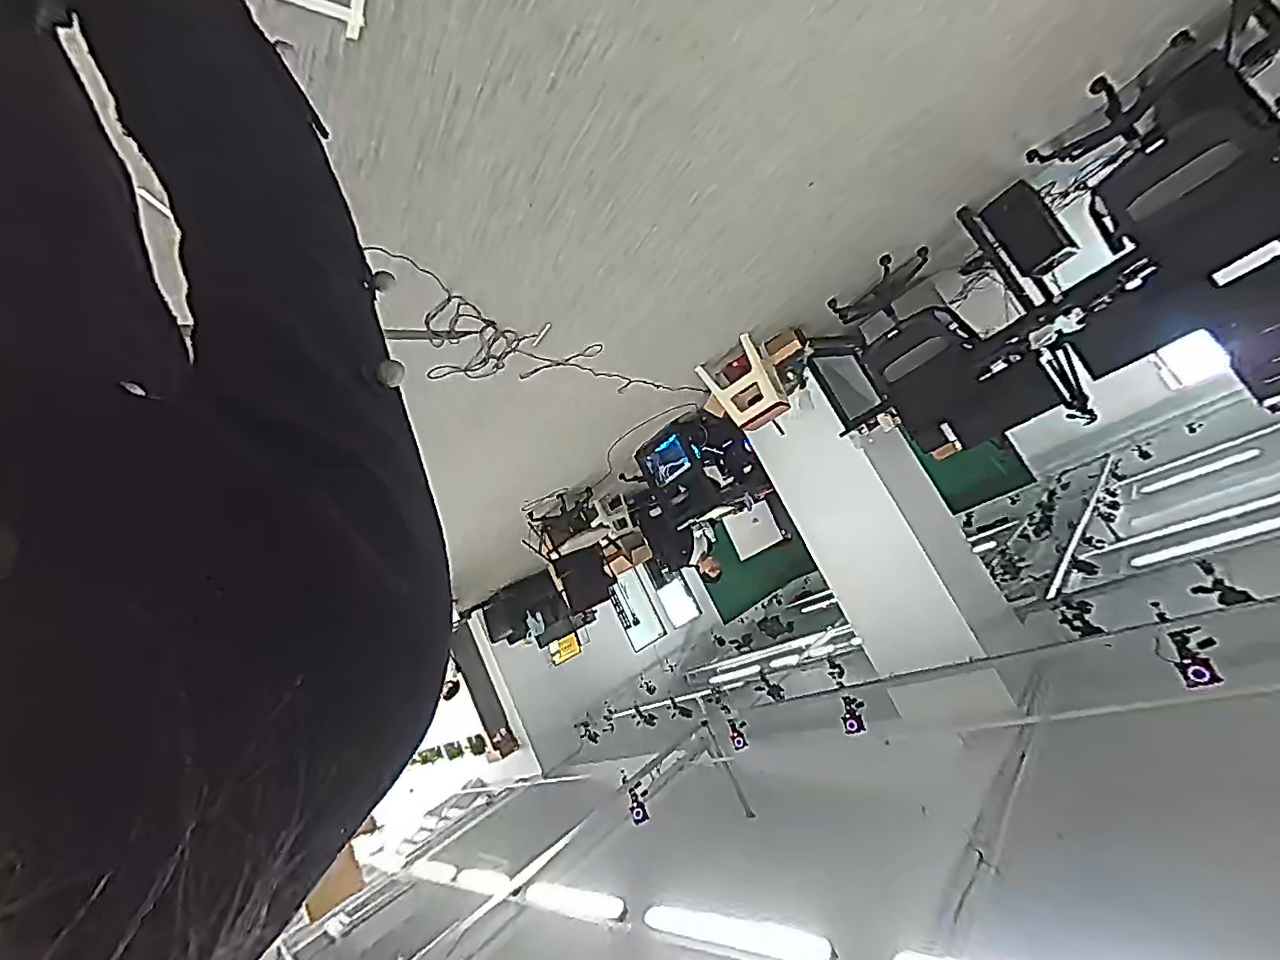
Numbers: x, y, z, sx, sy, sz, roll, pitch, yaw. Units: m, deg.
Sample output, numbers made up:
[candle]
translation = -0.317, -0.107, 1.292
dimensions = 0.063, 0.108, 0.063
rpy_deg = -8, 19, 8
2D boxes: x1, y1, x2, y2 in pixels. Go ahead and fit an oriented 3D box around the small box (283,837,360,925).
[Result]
[small box]
translation = -1.041, 1.294, 1.760
dimensions = 0.168, 0.176, 0.179
rpy_deg = -16, 165, -43
